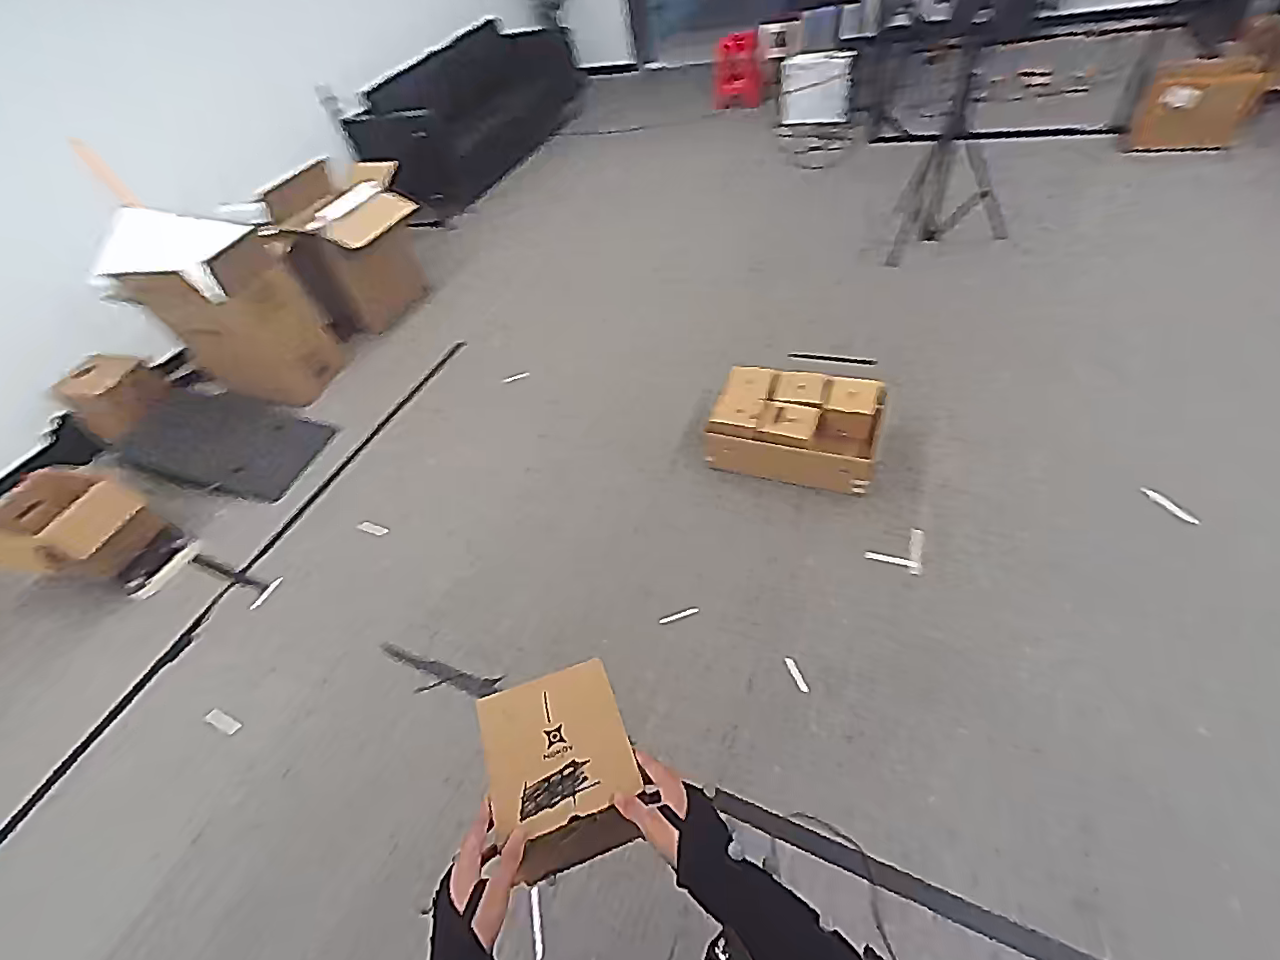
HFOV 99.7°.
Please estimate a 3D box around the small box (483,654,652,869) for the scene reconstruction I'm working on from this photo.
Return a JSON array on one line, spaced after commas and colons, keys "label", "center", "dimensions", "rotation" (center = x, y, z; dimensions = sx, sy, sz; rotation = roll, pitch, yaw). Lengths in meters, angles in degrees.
[{"label": "small box", "center": [-0.087, 0.358, 0.681], "dimensions": [0.168, 0.176, 0.179], "rotation": [-15, 45, -12]}]
